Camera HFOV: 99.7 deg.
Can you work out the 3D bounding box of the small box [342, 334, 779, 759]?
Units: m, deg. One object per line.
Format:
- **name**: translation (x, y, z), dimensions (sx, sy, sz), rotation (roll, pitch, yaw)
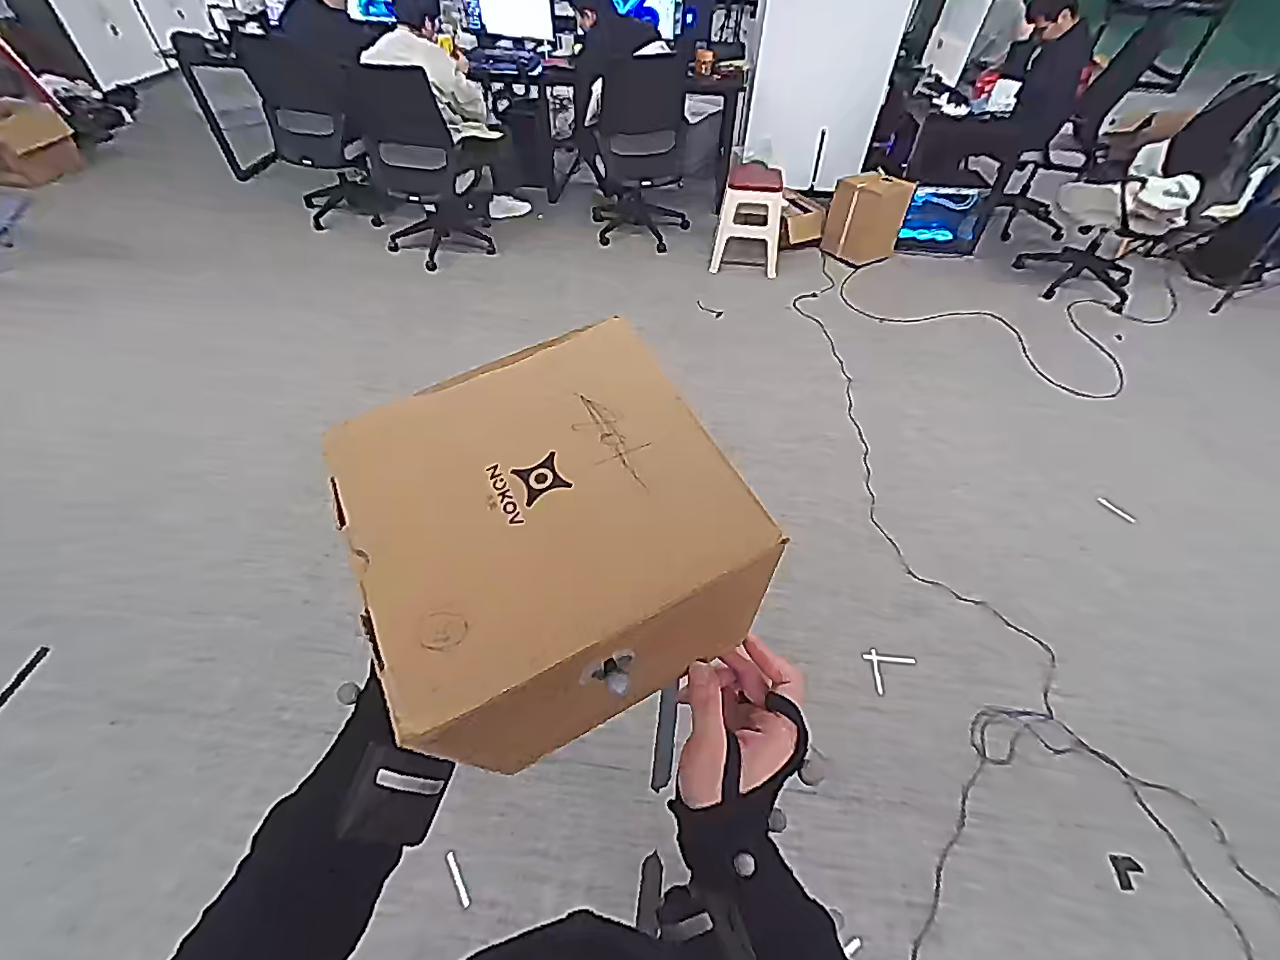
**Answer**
- **small box**: translation (-0.043, 0.049, 0.335), dimensions (0.179, 0.176, 0.168), rotation (-25, 61, -13)
